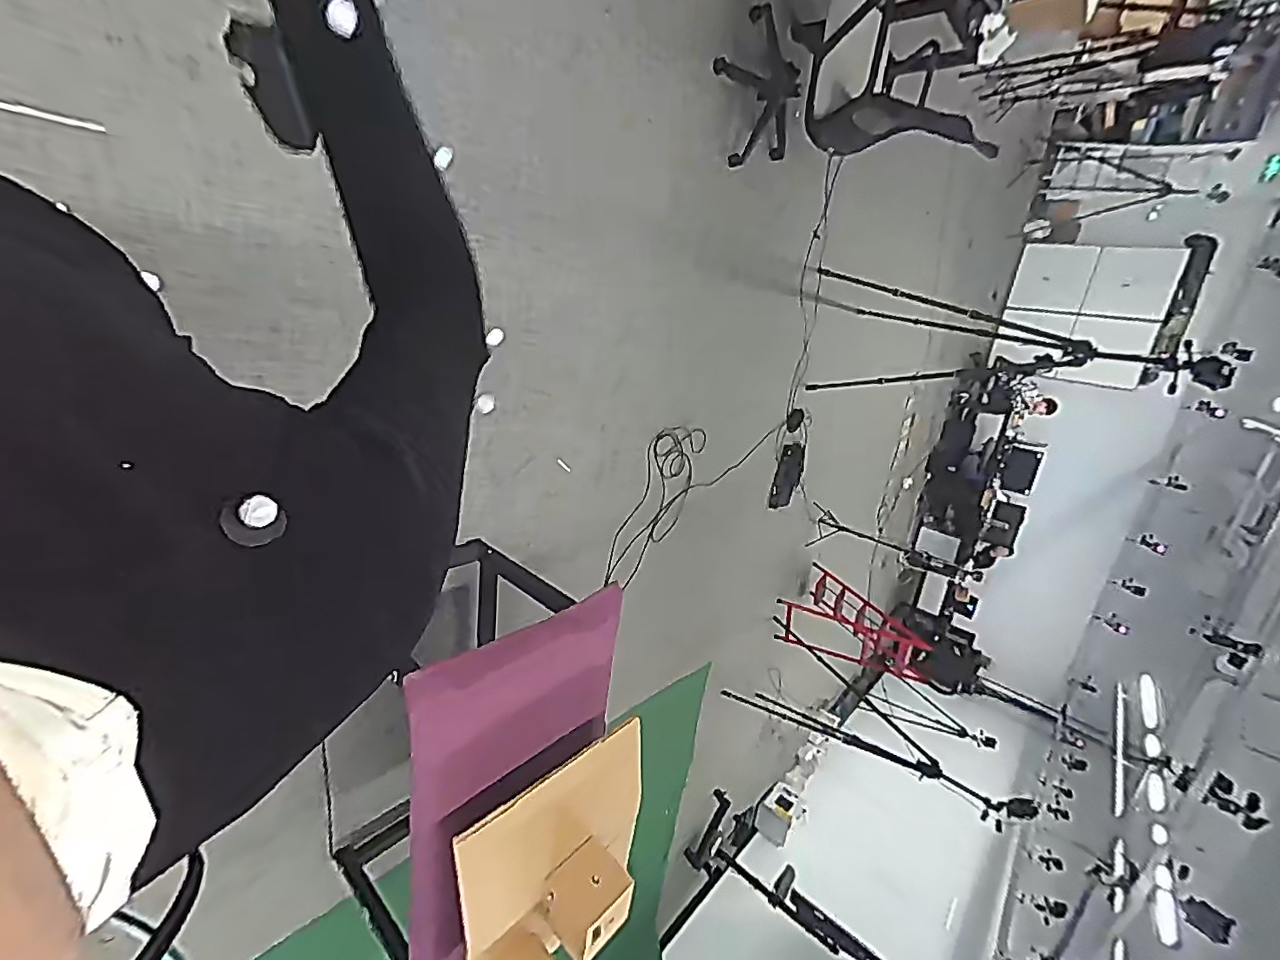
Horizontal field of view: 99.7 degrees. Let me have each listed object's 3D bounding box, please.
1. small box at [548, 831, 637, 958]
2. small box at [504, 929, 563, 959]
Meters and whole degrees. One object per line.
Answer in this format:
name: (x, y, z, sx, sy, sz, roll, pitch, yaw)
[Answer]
small box: (-0.135, 1.126, 1.482, 0.179, 0.176, 0.168, -16, 122, -47)
small box: (-0.287, 1.354, 1.426, 0.179, 0.176, 0.168, -15, 121, -45)
